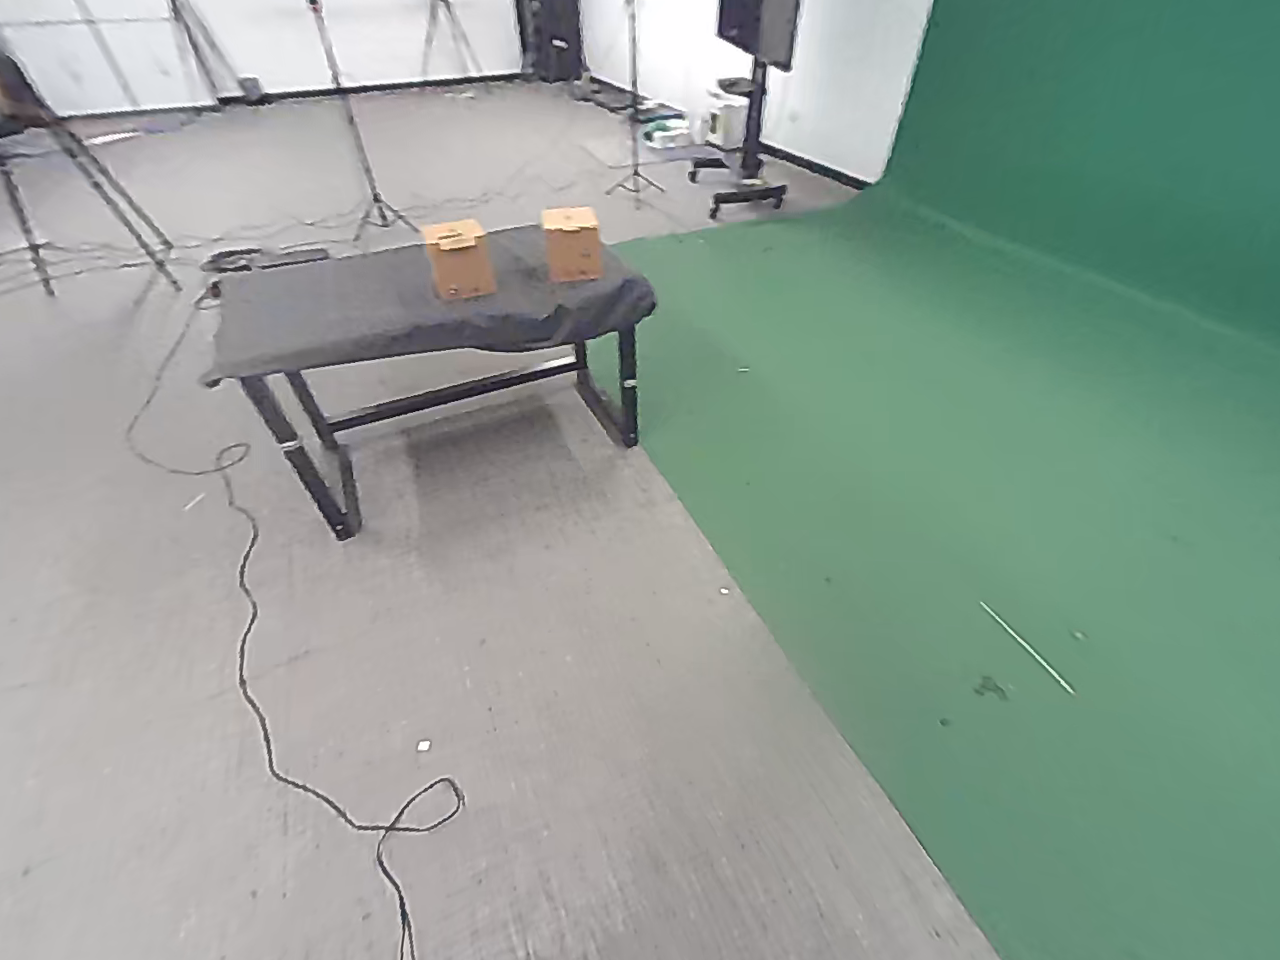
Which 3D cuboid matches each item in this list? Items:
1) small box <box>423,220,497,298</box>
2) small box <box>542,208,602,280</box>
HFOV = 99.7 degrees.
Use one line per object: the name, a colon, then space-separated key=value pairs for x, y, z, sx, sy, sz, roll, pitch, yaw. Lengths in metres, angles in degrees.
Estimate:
small box: x=-0.547 y=-0.670 z=1.652 sx=0.168 sy=0.176 sz=0.179 roll=-17 pitch=45 yaw=-16
small box: x=-0.217 y=-0.749 z=1.729 sx=0.168 sy=0.176 sz=0.179 roll=-8 pitch=43 yaw=-8
